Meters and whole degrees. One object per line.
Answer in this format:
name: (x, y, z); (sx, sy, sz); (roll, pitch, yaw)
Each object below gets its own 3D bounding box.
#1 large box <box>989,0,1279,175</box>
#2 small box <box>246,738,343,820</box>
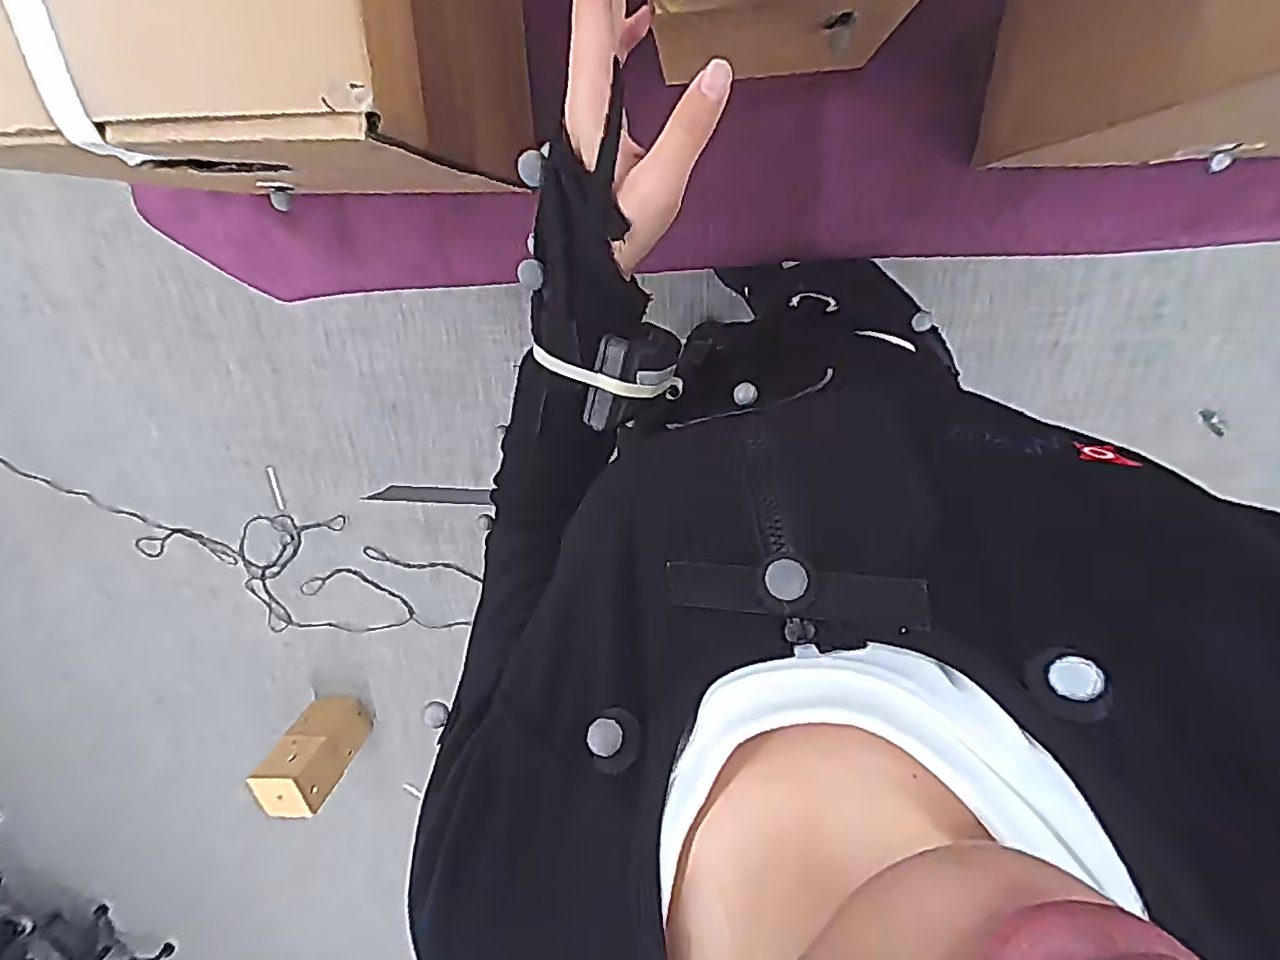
large box: (0.428, -0.399, 0.254); (0.320, 0.320, 0.408); (1, 112, 6)
small box: (-1.104, 0.958, 1.741); (0.168, 0.176, 0.179); (-5, 113, 10)
